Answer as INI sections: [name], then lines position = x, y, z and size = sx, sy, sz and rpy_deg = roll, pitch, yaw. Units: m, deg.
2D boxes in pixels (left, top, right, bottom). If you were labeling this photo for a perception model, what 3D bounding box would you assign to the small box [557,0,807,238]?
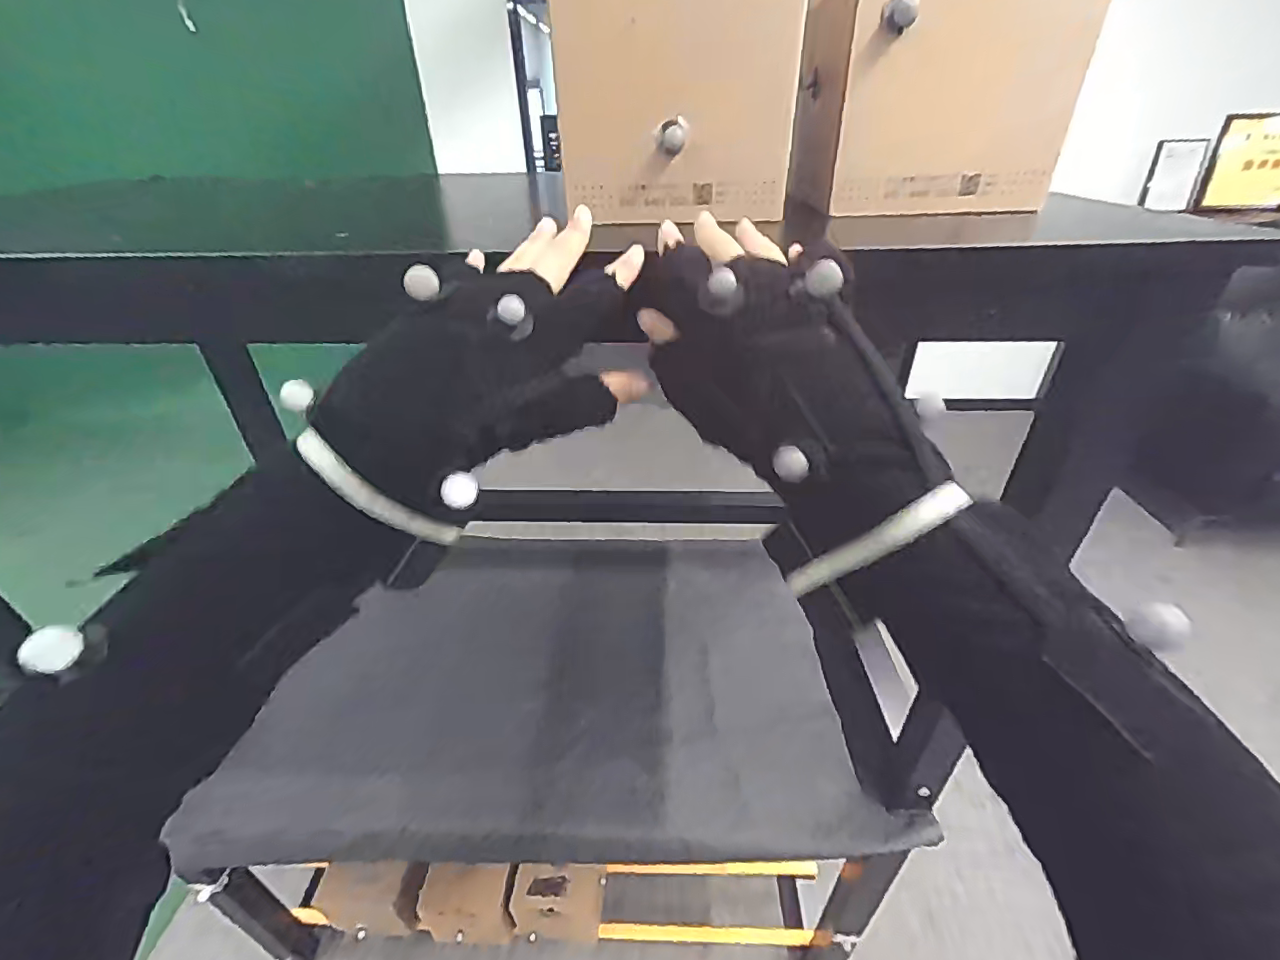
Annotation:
[small box]
position = 0.028, -0.306, 0.447
size = 0.168, 0.176, 0.179
rpy_deg = 0, 34, 2
